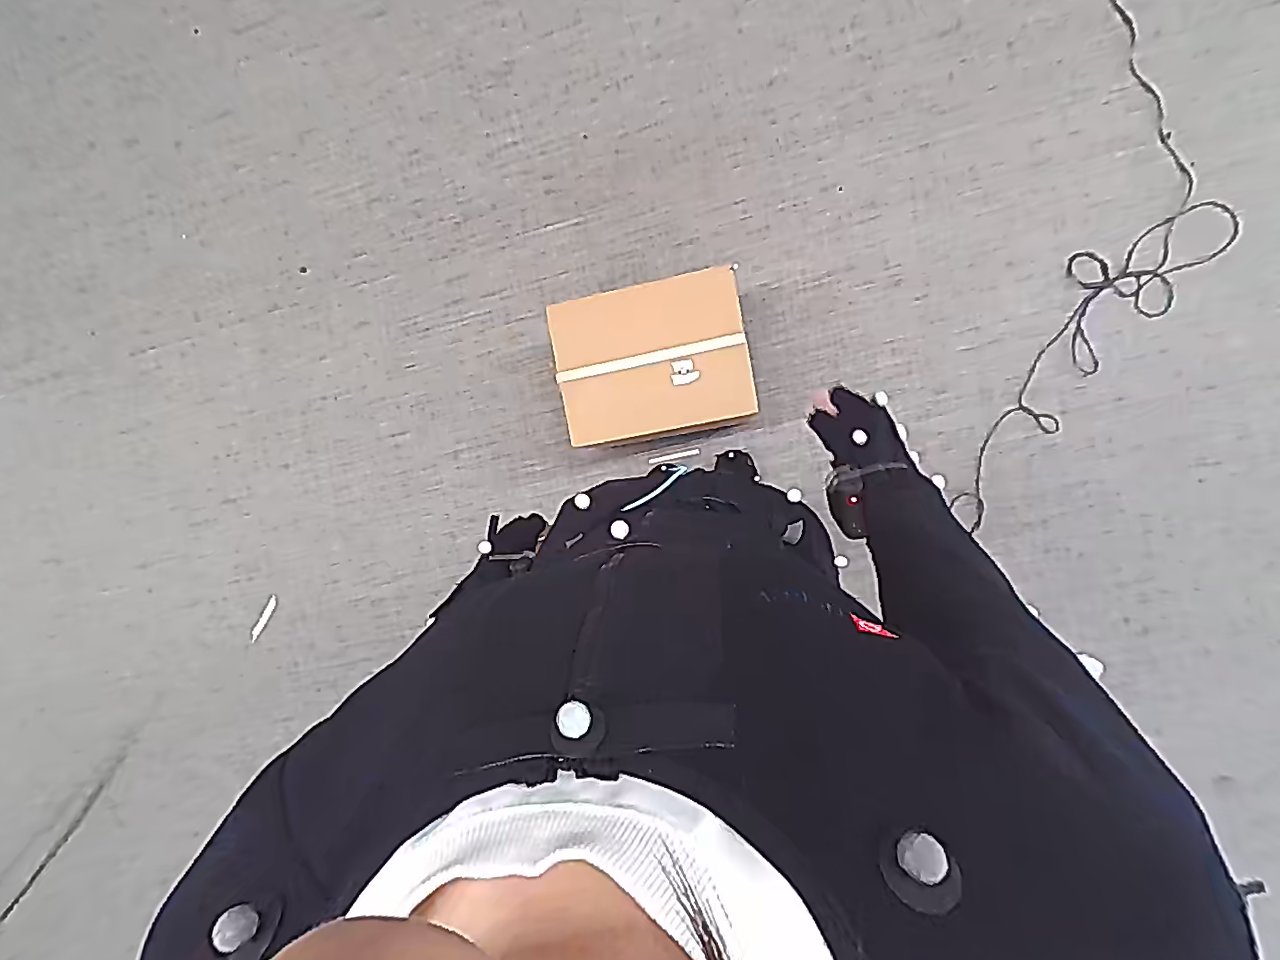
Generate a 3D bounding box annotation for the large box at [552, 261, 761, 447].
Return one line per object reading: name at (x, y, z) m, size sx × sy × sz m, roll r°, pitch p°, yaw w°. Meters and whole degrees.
large box at (0.048, -0.270, 1.287) m, size 0.408 × 0.320 × 0.320 m, roll -11°, pitch 92°, yaw 7°
